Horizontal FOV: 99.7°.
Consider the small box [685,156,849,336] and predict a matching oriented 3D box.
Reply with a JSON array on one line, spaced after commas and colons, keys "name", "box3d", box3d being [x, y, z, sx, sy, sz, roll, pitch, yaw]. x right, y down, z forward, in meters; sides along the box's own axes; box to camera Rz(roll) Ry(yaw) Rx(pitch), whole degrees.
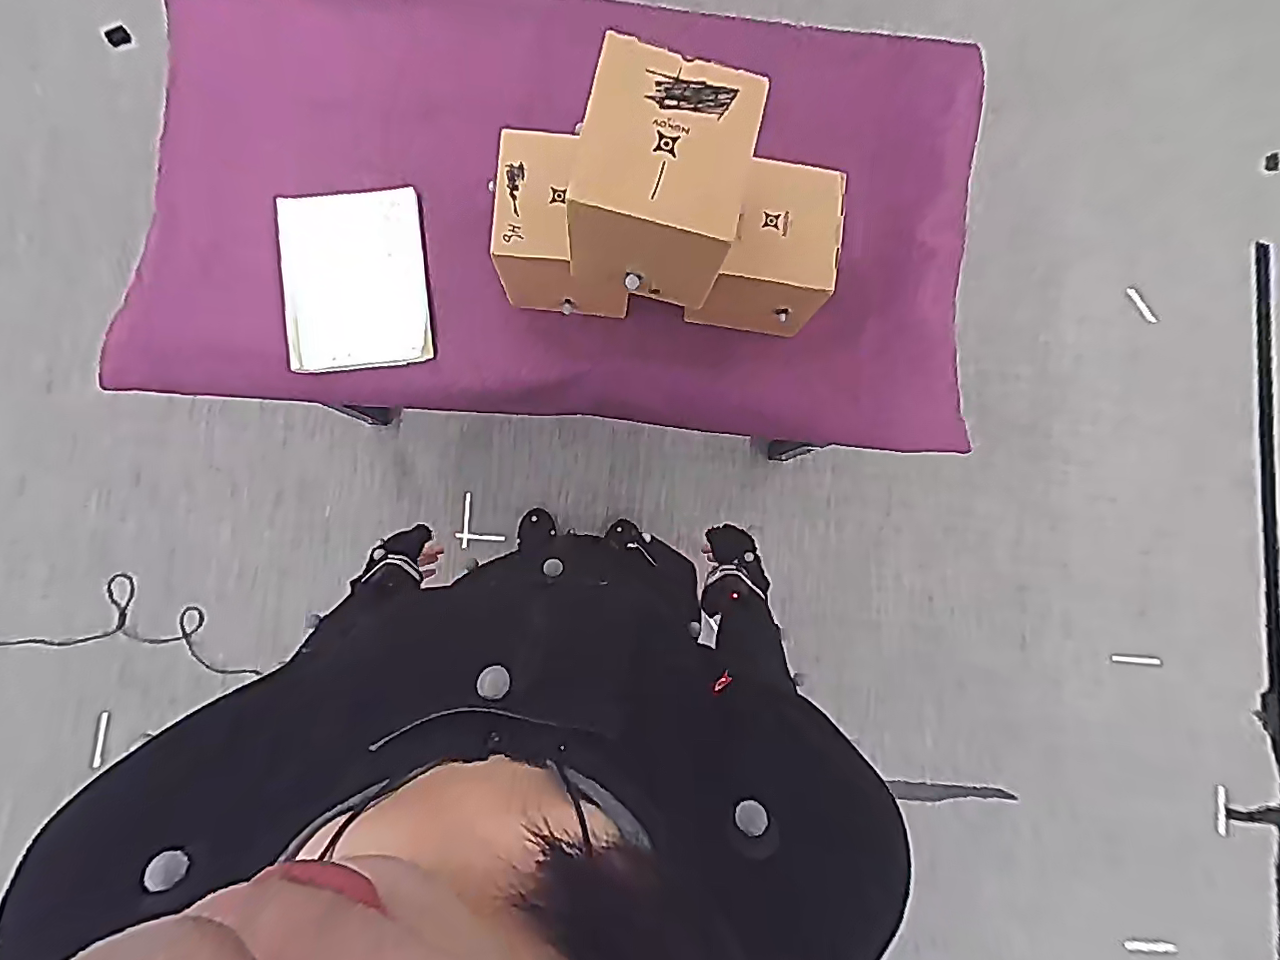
[{"name": "small box", "box3d": [0.169, -0.317, 0.761, 0.179, 0.176, 0.168, 8, 83, -1]}]

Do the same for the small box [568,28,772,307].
[{"name": "small box", "box3d": [0.024, -0.317, 0.585, 0.168, 0.176, 0.179, 14, 85, -3]}]

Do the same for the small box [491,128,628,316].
[{"name": "small box", "box3d": [-0.095, -0.339, 0.745, 0.179, 0.176, 0.168, 5, 84, -4]}]
